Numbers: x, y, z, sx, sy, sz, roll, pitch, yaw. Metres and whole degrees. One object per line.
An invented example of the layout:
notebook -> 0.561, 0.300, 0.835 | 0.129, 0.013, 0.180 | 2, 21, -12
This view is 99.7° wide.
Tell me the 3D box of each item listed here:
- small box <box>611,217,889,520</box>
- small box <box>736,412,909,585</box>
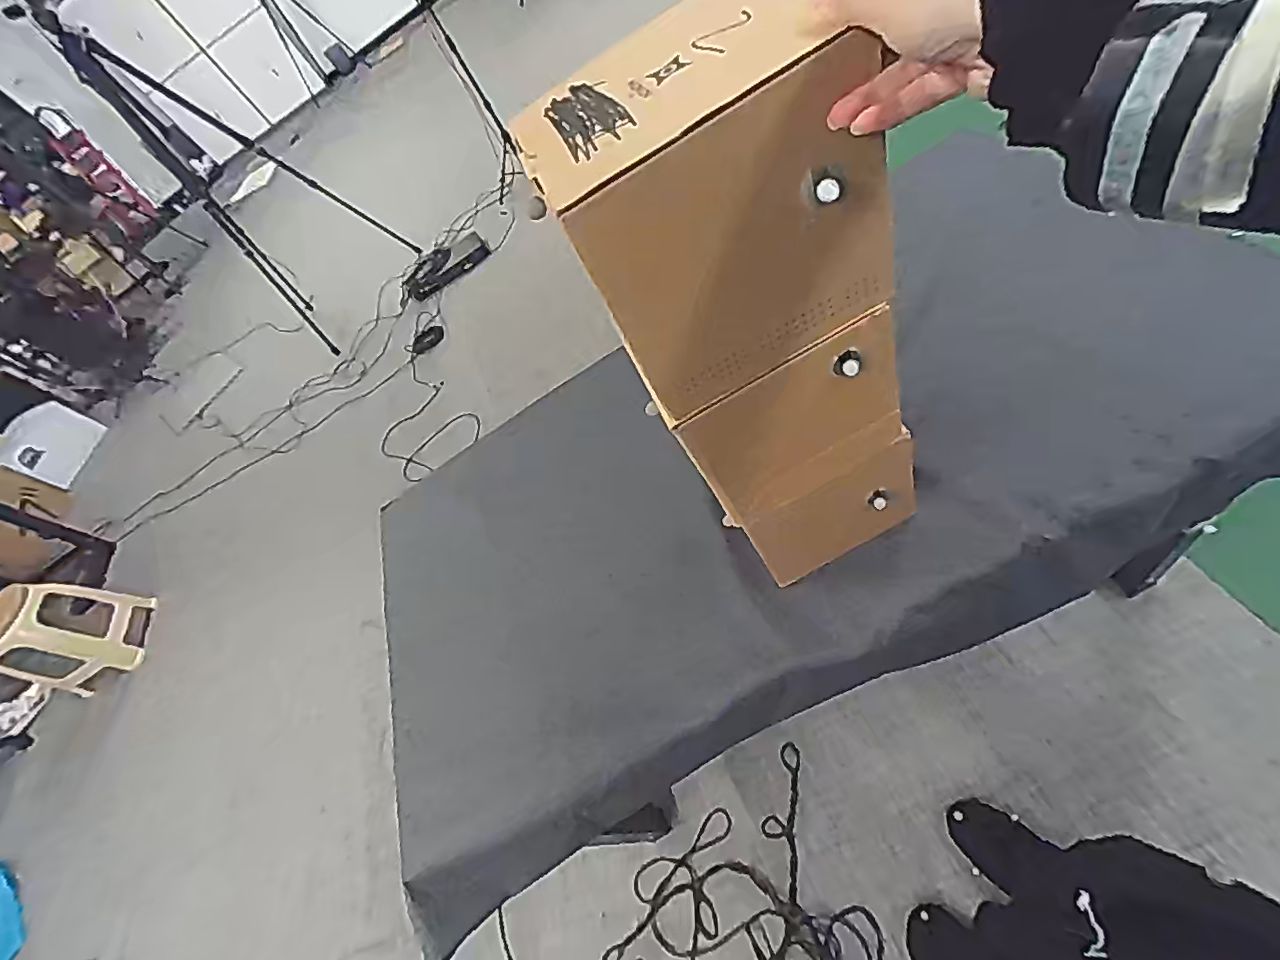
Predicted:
small box -> 0.103, -0.092, 0.494 | 0.179, 0.176, 0.168 | -30, 49, 7
small box -> 0.178, -0.011, 0.614 | 0.179, 0.176, 0.168 | -32, 49, 7
